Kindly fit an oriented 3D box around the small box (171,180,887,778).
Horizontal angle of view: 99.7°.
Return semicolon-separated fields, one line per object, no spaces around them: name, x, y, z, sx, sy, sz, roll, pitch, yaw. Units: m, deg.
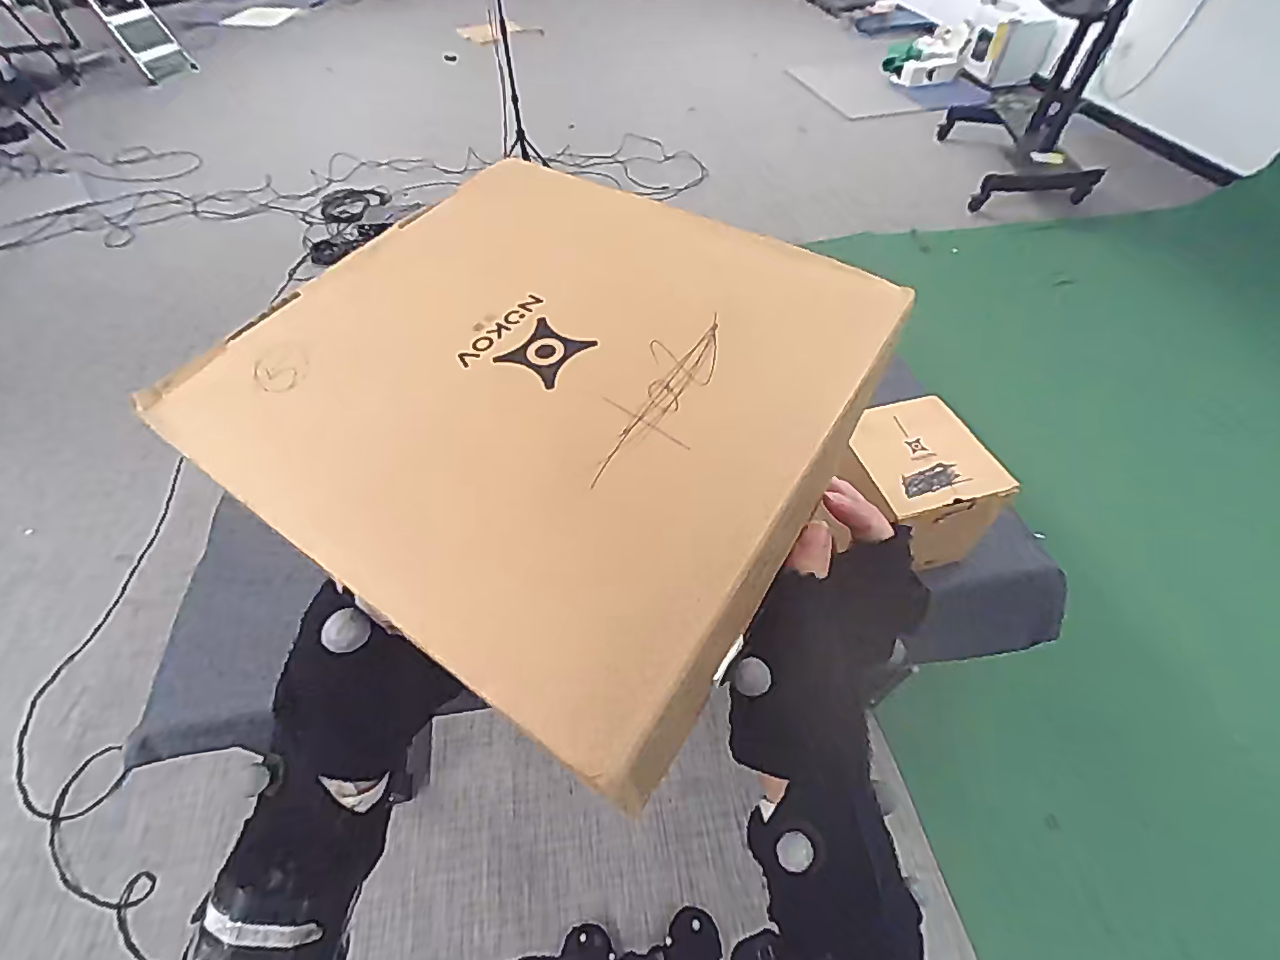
small box;-0.029;0.006;0.241;0.179;0.176;0.168;28;62;19

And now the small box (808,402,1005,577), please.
small box;0.353;0.020;0.763;0.168;0.176;0.179;-12;51;-8
